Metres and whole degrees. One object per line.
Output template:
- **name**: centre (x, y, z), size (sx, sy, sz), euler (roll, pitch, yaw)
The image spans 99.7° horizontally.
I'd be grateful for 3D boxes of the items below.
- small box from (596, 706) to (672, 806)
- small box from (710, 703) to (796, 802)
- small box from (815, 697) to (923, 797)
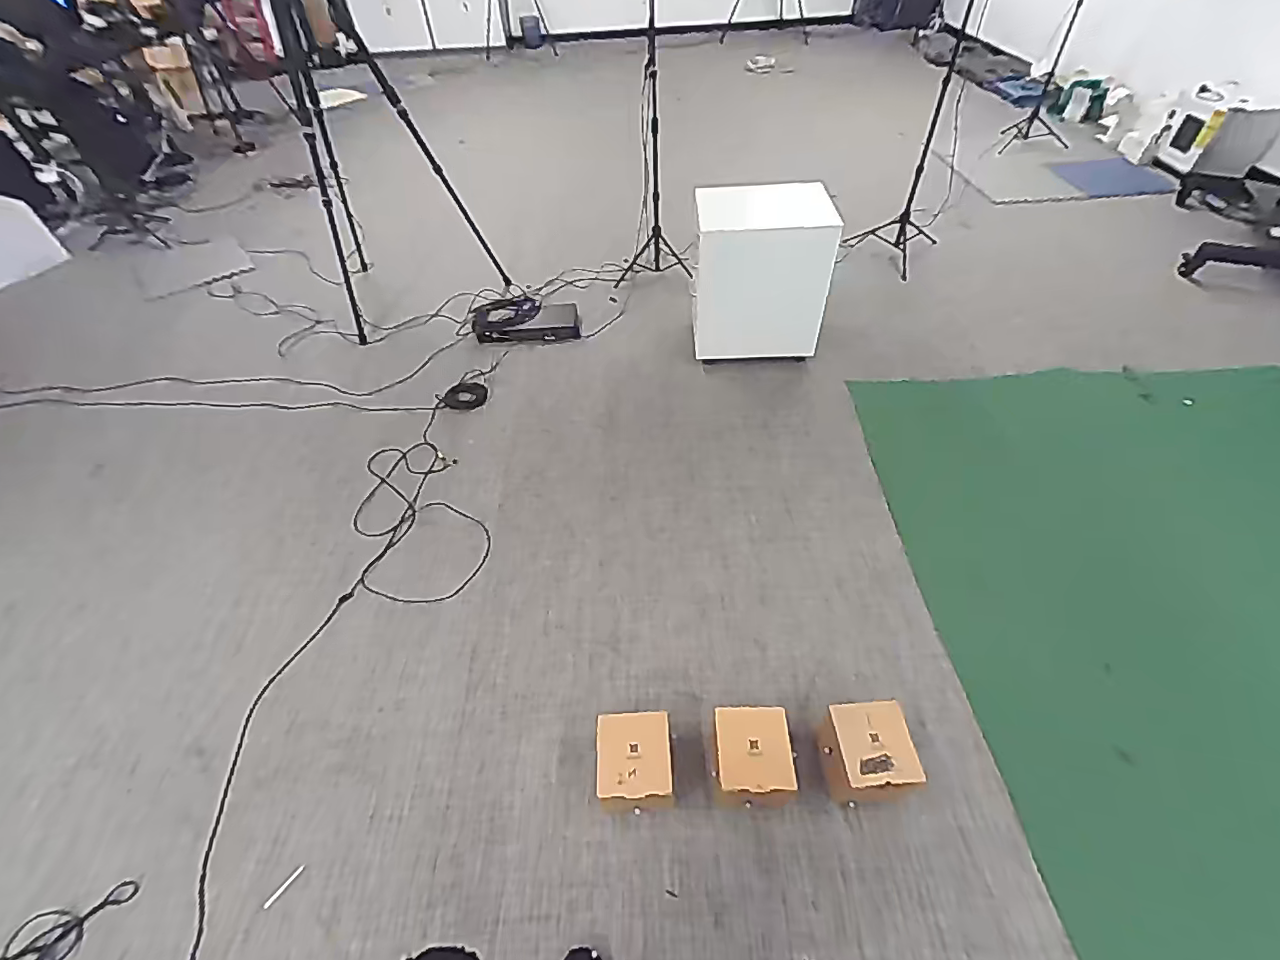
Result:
- **small box**: centre (-0.012, 0.652, 1.275), size (0.168, 0.176, 0.179), euler (-4, 50, 2)
- **small box**: centre (0.256, 0.642, 1.272), size (0.168, 0.176, 0.179), euler (-1, 50, 2)
- **small box**: centre (0.525, 0.630, 1.266), size (0.168, 0.176, 0.179), euler (-4, 49, 0)
